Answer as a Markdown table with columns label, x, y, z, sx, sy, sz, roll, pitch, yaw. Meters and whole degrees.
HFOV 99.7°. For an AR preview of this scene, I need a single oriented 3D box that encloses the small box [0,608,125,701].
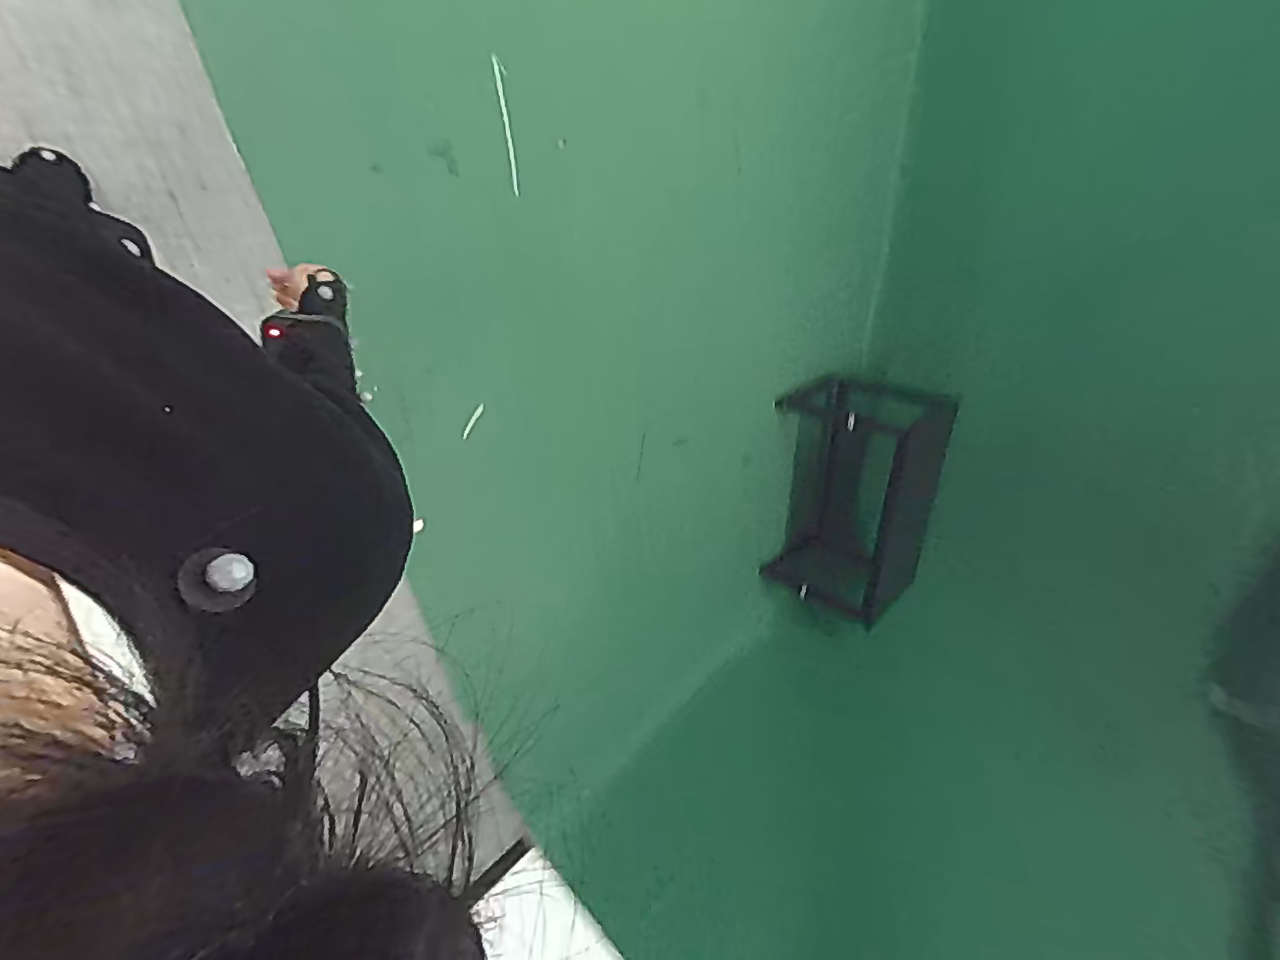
| label | x | y | z | sx | sy | sz | roll | pitch | yaw |
| --- | --- | --- | --- | --- | --- | --- | --- | --- | --- |
| small box | -1.205 | 0.387 | 1.109 | 0.168 | 0.176 | 0.179 | -23 | 126 | -38 |

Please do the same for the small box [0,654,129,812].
| label | x | y | z | sx | sy | sz | roll | pitch | yaw |
| --- | --- | --- | --- | --- | --- | --- | --- | --- | --- |
| small box | -1.106 | 0.458 | 0.998 | 0.168 | 0.176 | 0.179 | -40 | 134 | -27 |

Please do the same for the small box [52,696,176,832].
| label | x | y | z | sx | sy | sz | roll | pitch | yaw |
| --- | --- | --- | --- | --- | --- | --- | --- | --- | --- |
| small box | -1.209 | 0.635 | 1.233 | 0.179 | 0.176 | 0.168 | -22 | 125 | -39 |
